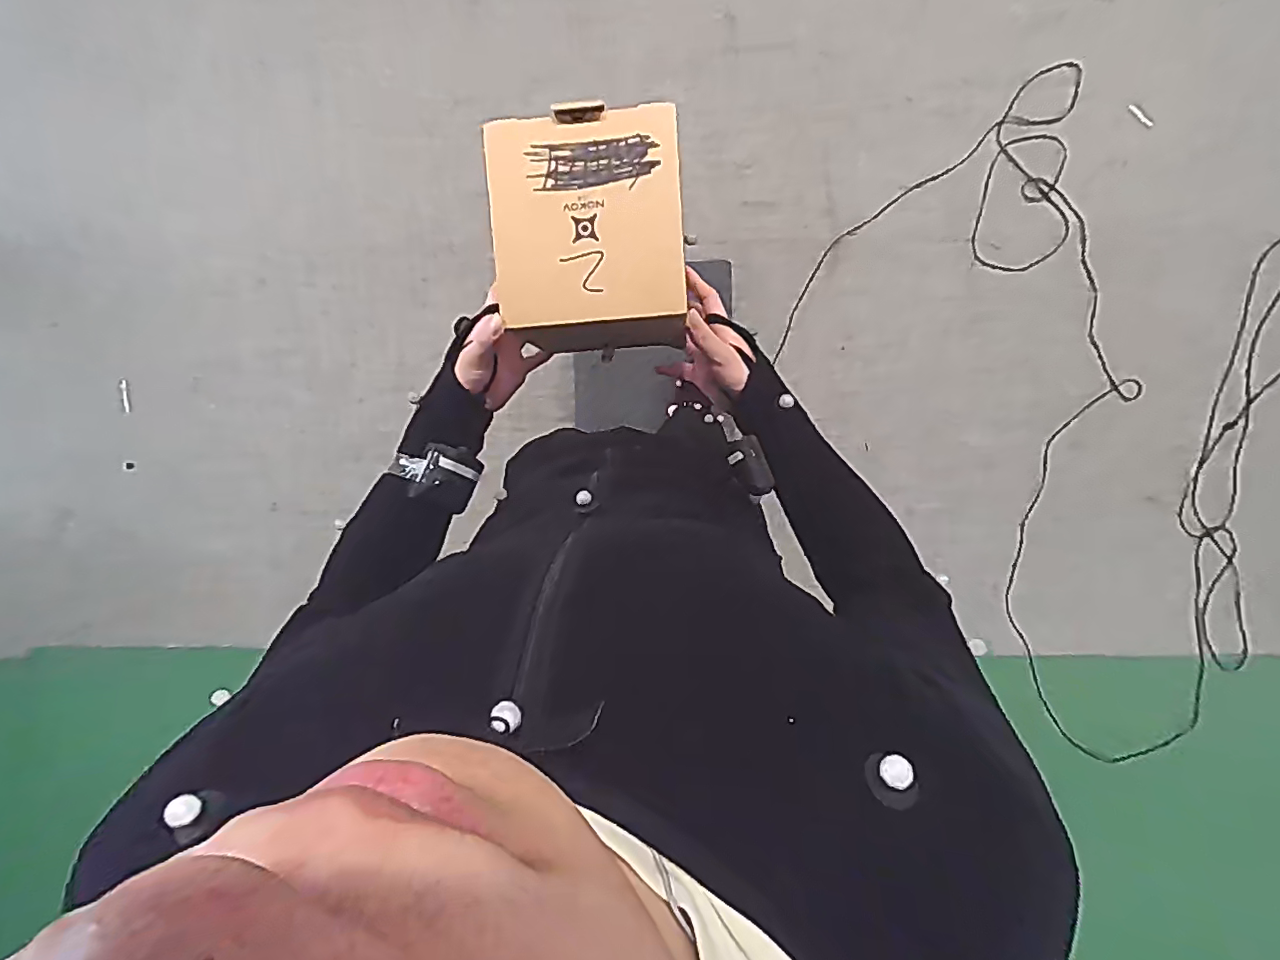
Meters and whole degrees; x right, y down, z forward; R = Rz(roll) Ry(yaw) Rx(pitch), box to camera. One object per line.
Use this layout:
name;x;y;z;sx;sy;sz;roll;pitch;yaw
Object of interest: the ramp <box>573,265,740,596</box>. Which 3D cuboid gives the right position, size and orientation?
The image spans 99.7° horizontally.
ramp;0.044;-0.151;1.638;0.509;0.206;0.991;-3;98;3
